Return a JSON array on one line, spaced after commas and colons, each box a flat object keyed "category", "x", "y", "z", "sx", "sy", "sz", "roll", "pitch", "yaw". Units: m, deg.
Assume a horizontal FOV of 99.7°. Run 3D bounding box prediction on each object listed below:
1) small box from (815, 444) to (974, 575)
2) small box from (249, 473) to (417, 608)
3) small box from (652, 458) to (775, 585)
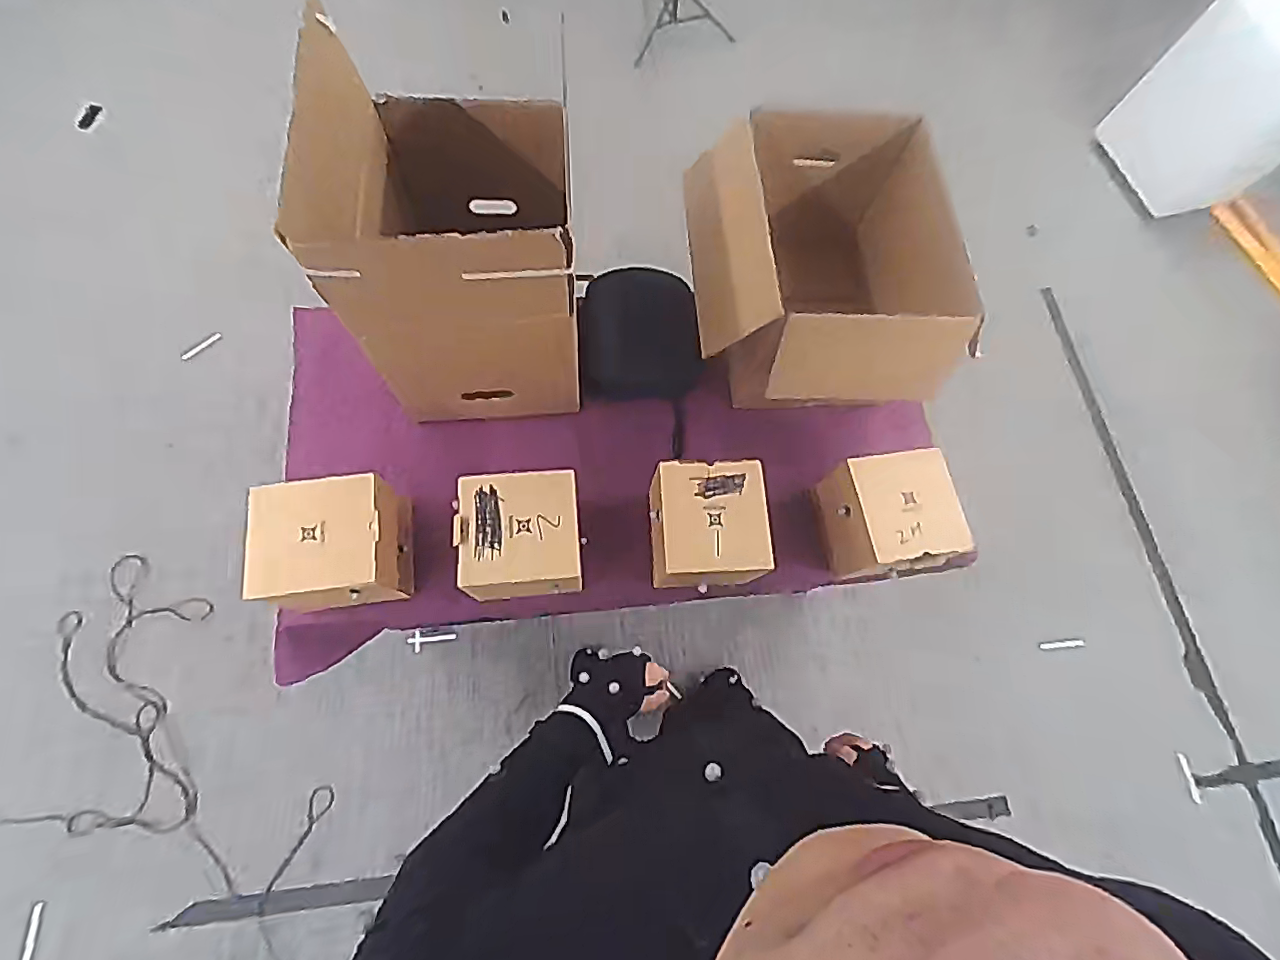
[{"category": "small box", "x": 0.423, "y": 0.056, "z": 0.934, "sx": 0.168, "sy": 0.176, "sz": 0.179, "roll": -7, "pitch": 72, "yaw": -6}, {"category": "small box", "x": -0.466, "y": 0.101, "z": 0.845, "sx": 0.179, "sy": 0.176, "sz": 0.168, "roll": -7, "pitch": 72, "yaw": -9}, {"category": "small box", "x": 0.112, "y": 0.074, "z": 0.903, "sx": 0.168, "sy": 0.176, "sz": 0.179, "roll": -1, "pitch": 72, "yaw": -5}]
